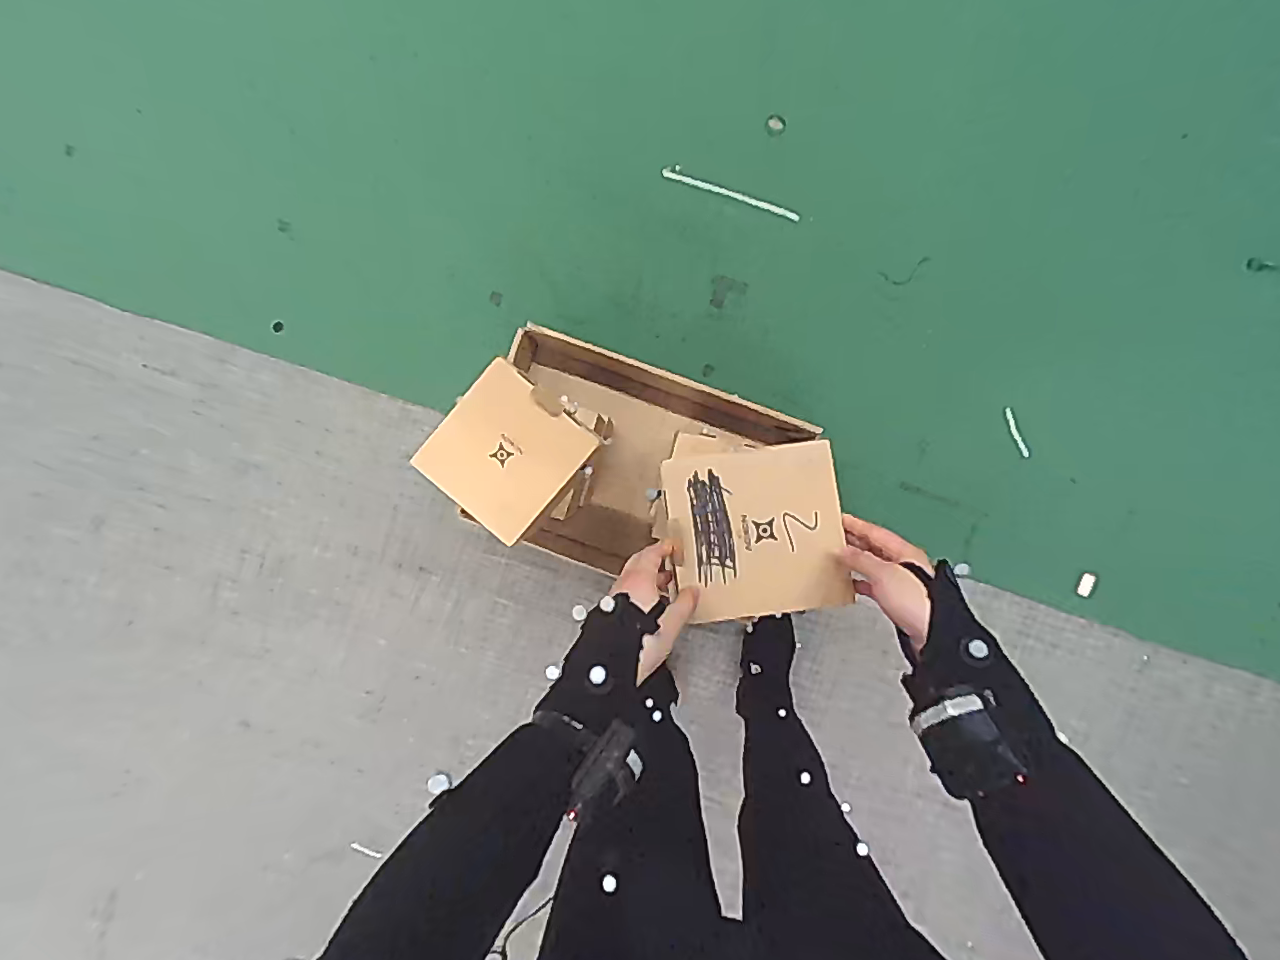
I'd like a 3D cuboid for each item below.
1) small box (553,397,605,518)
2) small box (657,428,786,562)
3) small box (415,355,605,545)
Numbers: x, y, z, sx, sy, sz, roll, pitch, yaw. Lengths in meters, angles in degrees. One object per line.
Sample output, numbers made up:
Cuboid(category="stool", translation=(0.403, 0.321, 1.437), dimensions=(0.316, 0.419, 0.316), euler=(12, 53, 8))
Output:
Cuboid(category="small box", translation=(-0.161, -0.050, 0.901), dimensions=(0.168, 0.176, 0.179), euler=(19, 91, -1))
Cuboid(category="small box", translation=(0.126, 0.020, 0.904), dimensions=(0.168, 0.176, 0.179), euler=(14, 94, 2))
Cuboid(category="small box", translation=(-0.160, -0.037, 0.739), dimensions=(0.168, 0.176, 0.179), euler=(41, 91, -1))
